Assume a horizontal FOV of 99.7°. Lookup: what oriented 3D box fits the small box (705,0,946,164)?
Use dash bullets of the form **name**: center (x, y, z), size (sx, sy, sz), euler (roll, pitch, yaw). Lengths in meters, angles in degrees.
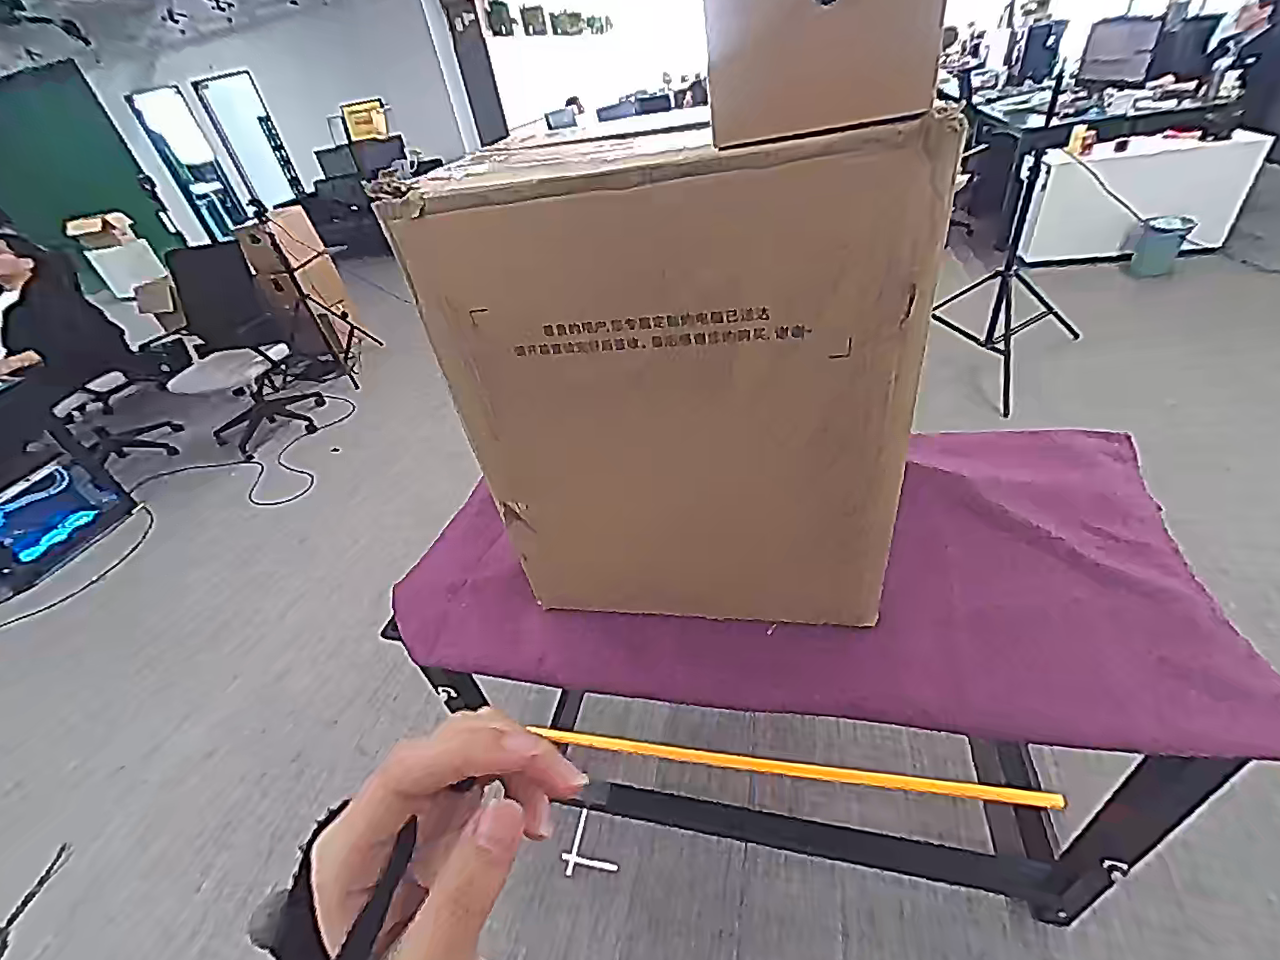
- **small box**: center (0.146, -0.381, 0.442), size (0.168, 0.176, 0.179), euler (2, 40, 17)
